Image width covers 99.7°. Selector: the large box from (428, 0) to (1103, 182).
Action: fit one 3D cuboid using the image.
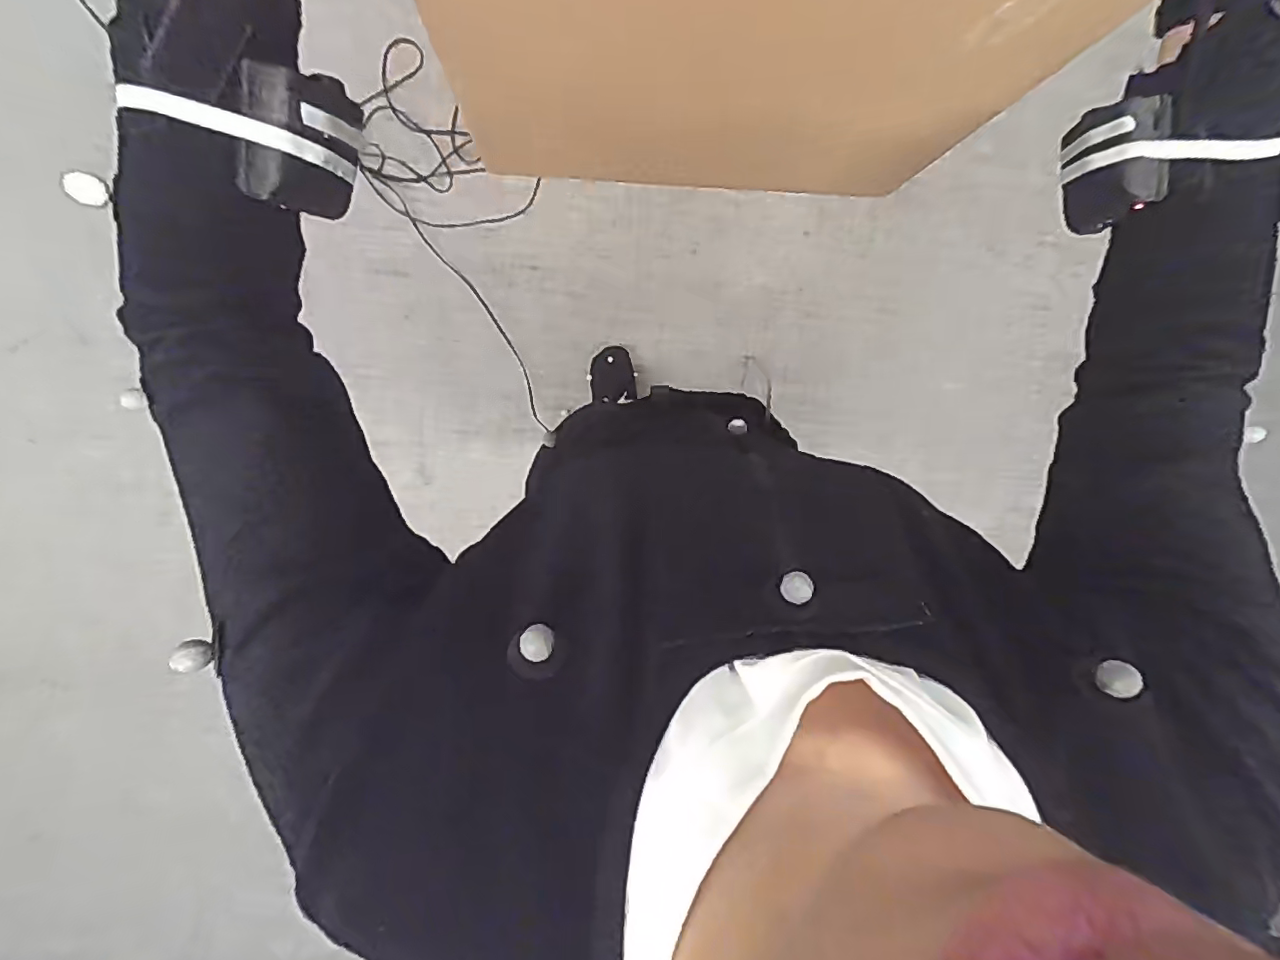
[{"bbox_3d":[0.065,-0.432,0.369,0.408,0.320,0.320,0,98,-6],"label":"large box"}]
